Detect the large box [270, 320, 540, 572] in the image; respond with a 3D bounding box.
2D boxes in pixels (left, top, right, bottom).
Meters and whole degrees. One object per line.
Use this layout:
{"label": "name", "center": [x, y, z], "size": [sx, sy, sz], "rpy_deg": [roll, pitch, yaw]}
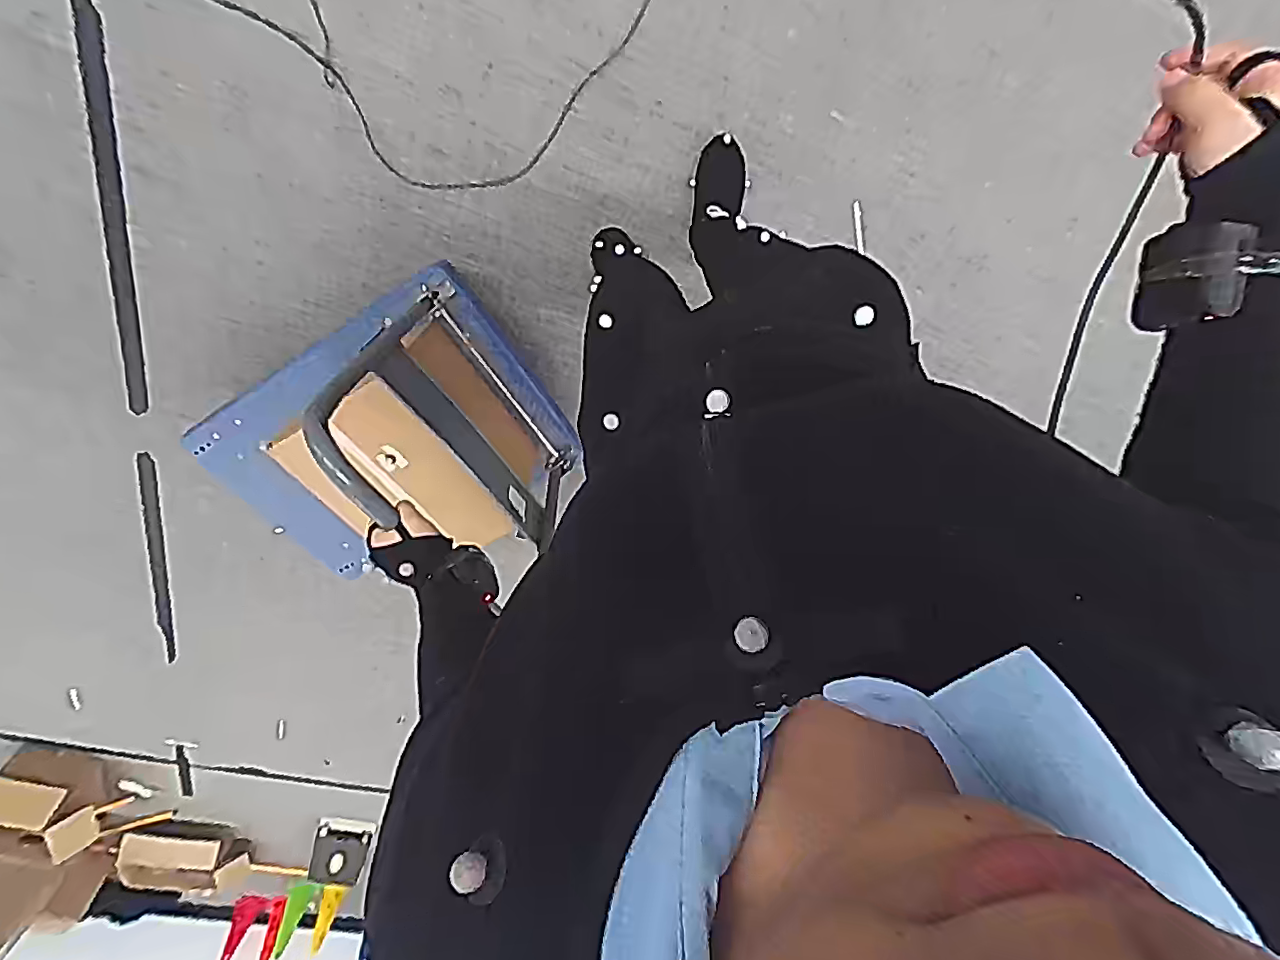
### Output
{"label": "large box", "center": [-0.482, -0.074, 1.214], "size": [0.320, 0.320, 0.408], "rpy_deg": [-26, 121, 15]}
